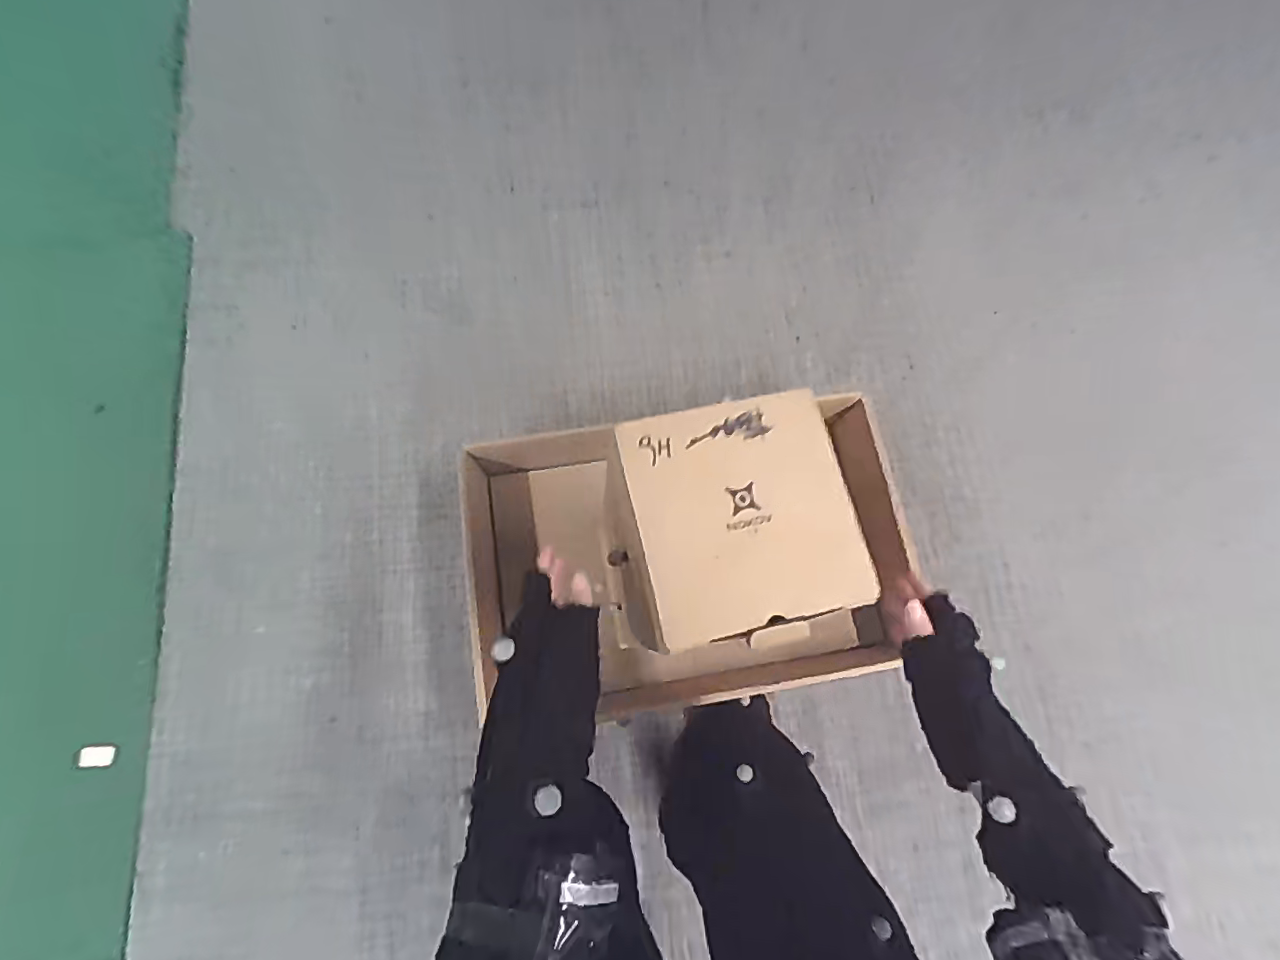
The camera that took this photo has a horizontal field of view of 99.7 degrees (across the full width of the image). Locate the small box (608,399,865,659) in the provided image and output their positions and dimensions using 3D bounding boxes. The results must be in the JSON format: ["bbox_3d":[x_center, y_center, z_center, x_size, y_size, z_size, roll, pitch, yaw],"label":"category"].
[{"bbox_3d":[0.067,0.049,0.486,0.168,0.176,0.179,-11,77,-7],"label":"small box"}]

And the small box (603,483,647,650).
[{"bbox_3d":[0.049,0.097,0.642,0.168,0.176,0.179,-8,74,-7],"label":"small box"}]
